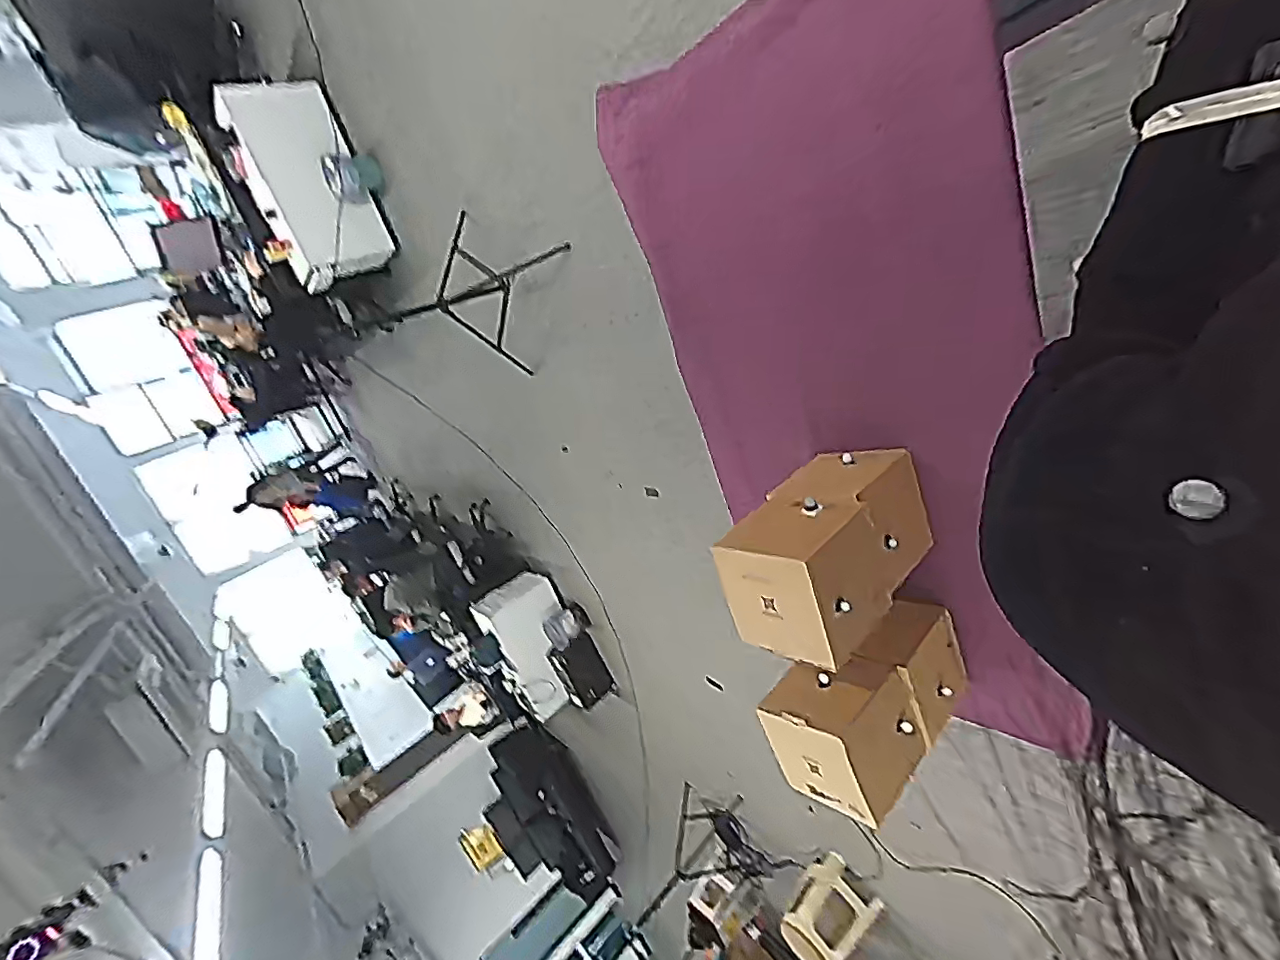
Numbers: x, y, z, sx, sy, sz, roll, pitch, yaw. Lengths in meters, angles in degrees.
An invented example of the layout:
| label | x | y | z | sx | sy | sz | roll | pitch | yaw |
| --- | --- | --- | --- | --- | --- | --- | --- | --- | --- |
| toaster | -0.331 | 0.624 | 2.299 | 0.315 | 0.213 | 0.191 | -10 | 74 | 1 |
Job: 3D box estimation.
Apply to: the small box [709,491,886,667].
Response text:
| label | x | y | z | sx | sy | sz | roll | pitch | yaw |
| --- | --- | --- | --- | --- | --- | --- | --- | --- | --- |
| small box | 0.236 | 0.133 | 0.794 | 0.168 | 0.176 | 0.179 | 1 | 116 | 52 |

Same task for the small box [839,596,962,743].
| label | x | y | z | sx | sy | sz | roll | pitch | yaw |
| --- | --- | --- | --- | --- | --- | --- | --- | --- | --- |
| small box | 0.450 | 0.324 | 0.970 | 0.179 | 0.176 | 0.168 | -3 | 114 | 55 |

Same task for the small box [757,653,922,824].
| label | x | y | z | sx | sy | sz | roll | pitch | yaw |
| --- | --- | --- | --- | --- | --- | --- | --- | --- | --- |
| small box | 0.330 | 0.402 | 0.890 | 0.168 | 0.176 | 0.179 | -6 | 111 | 56 |

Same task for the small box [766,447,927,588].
| label | x | y | z | sx | sy | sz | roll | pitch | yaw |
| --- | --- | --- | --- | --- | --- | --- | --- | --- | --- |
| small box | 0.344 | 0.060 | 0.891 | 0.168 | 0.176 | 0.179 | -2 | 114 | 54 |
